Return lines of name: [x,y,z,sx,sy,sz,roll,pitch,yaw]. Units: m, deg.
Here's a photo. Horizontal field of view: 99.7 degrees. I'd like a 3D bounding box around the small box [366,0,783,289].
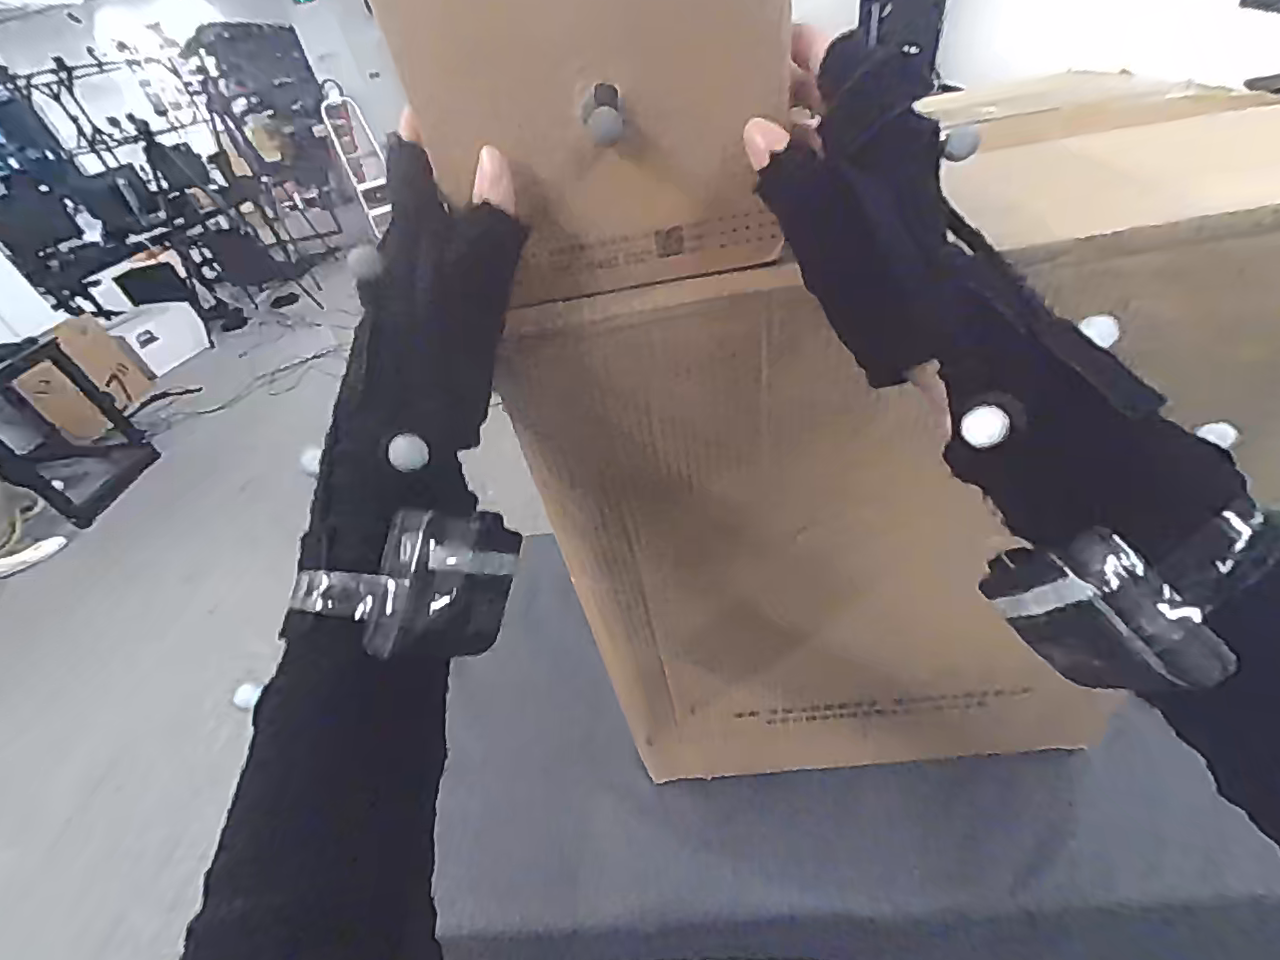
small box: [-0.017,-0.219,0.298,0.168,0.176,0.179,-7,43,6]
